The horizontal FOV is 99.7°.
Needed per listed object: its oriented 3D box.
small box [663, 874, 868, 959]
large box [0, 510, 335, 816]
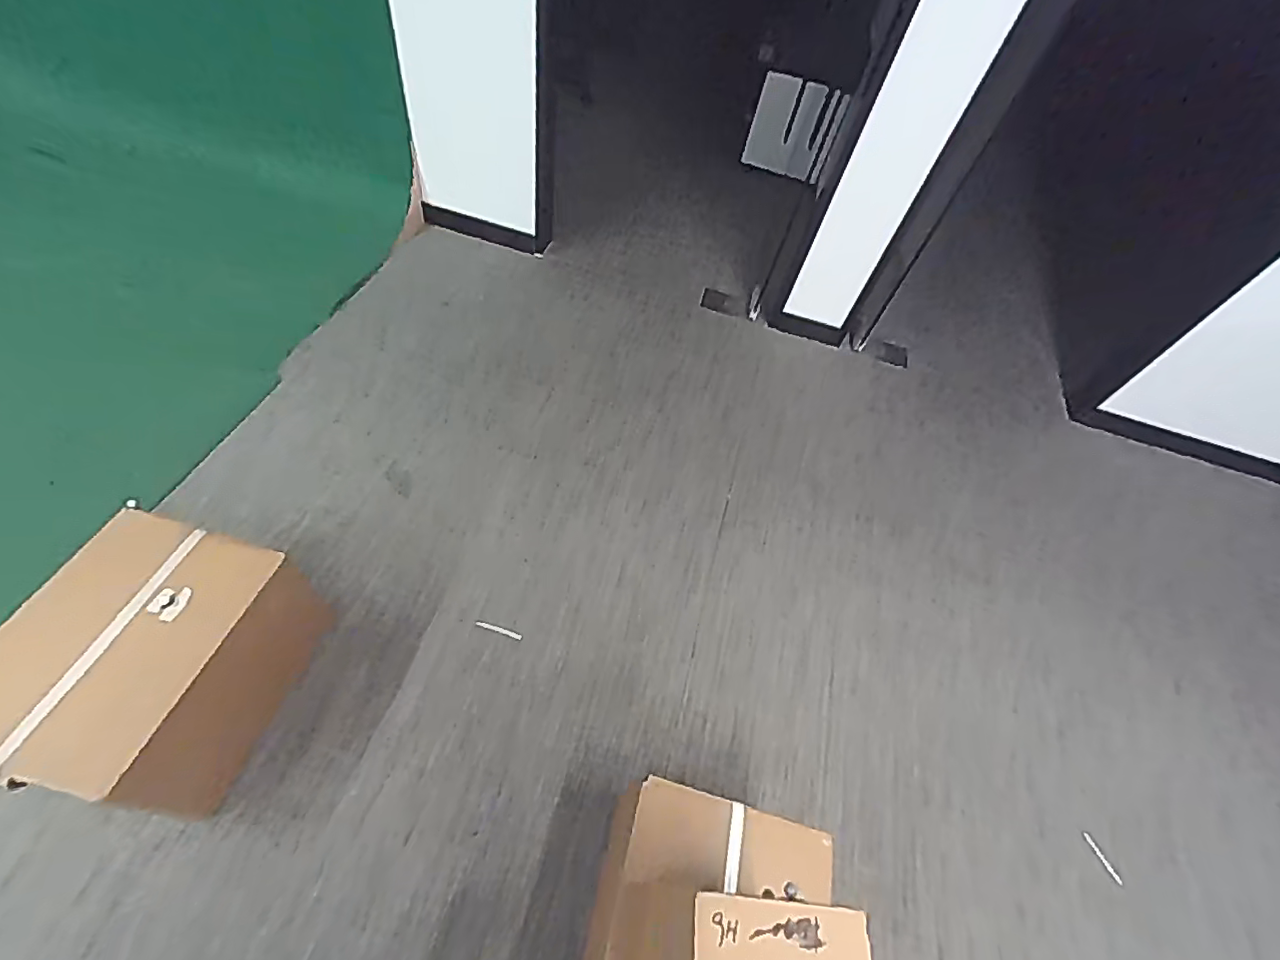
[{"bbox_3d":[0.114,0.507,0.532,0.168,0.176,0.179,8,55,-2],"label":"small box"},{"bbox_3d":[-0.846,0.332,0.979,0.320,0.320,0.408,16,53,1],"label":"large box"}]
